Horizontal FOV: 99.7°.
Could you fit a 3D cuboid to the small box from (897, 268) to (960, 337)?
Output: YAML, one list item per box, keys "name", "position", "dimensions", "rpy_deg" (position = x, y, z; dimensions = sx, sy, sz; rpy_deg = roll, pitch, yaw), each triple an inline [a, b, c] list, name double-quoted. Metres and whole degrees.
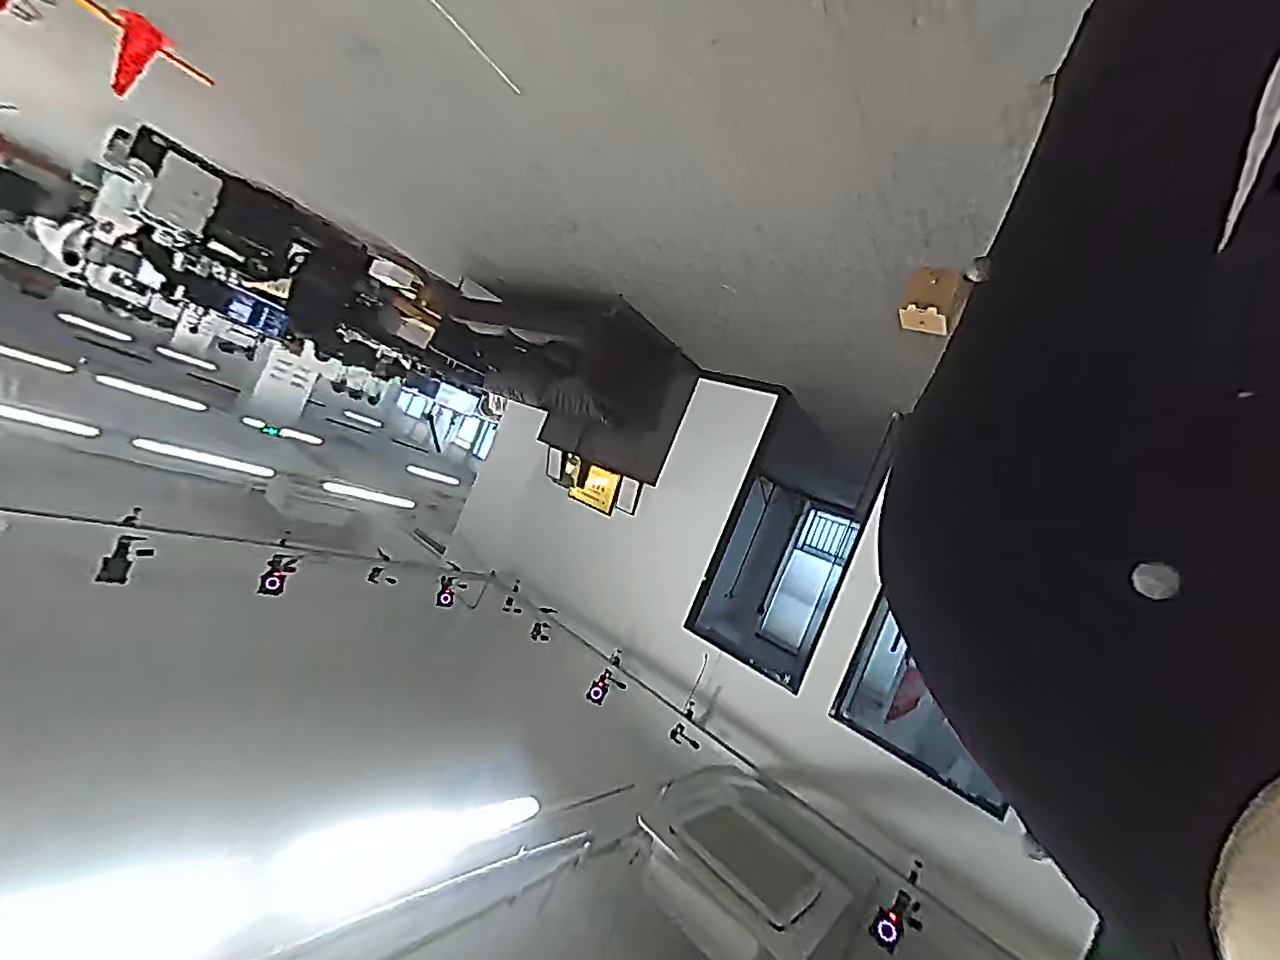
- name: "small box"
  position: [1.084, -0.668, 2.036]
  dimensions: [0.168, 0.176, 0.179]
  rpy_deg: [20, 177, 26]
